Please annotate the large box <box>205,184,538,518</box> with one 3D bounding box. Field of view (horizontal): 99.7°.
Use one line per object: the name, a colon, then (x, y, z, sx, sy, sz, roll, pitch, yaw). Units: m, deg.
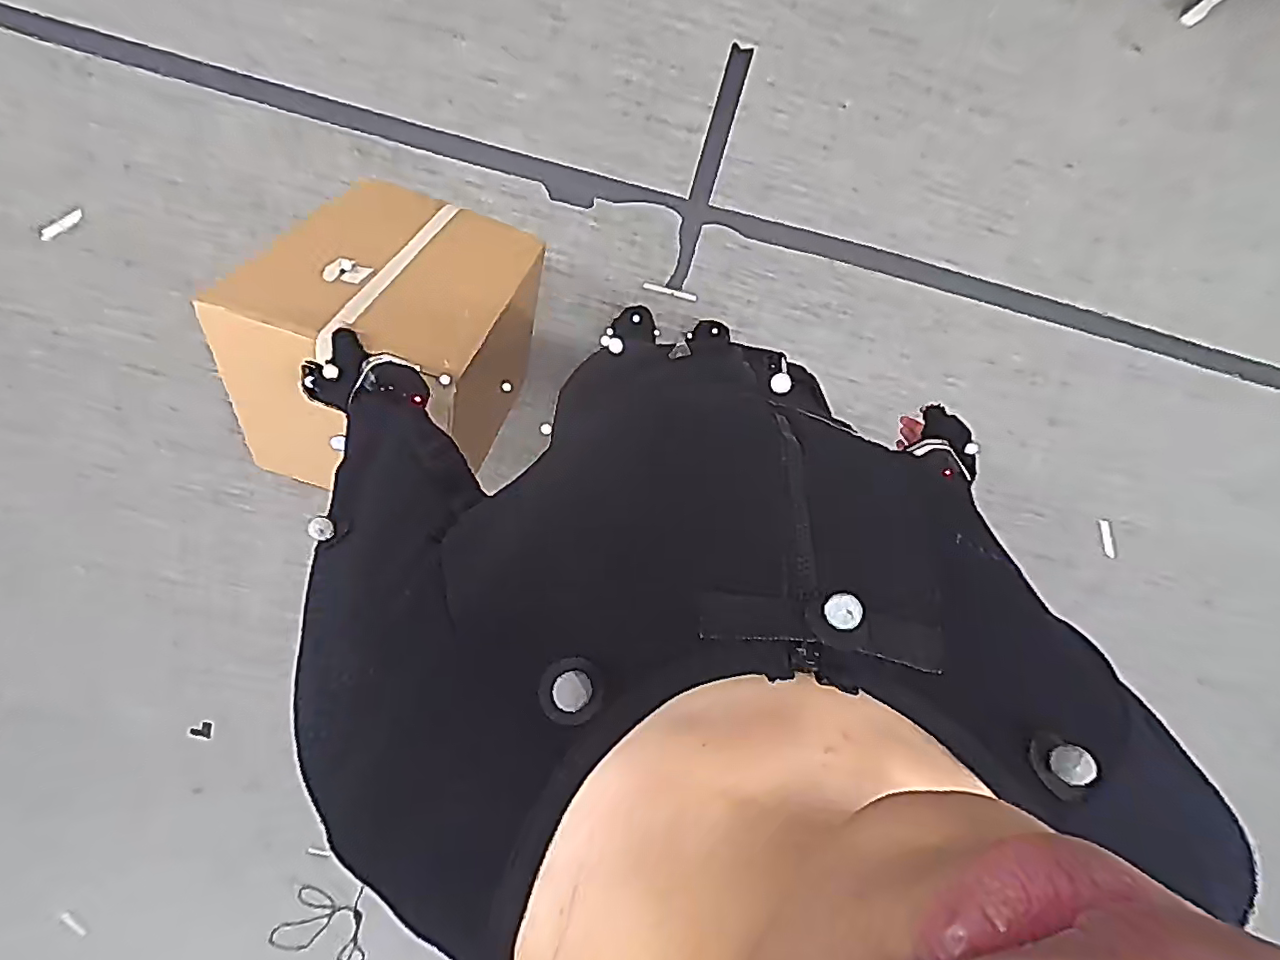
large box: (-0.389, -0.212, 0.900, 0.320, 0.408, 0.320, 17, 140, -5)
